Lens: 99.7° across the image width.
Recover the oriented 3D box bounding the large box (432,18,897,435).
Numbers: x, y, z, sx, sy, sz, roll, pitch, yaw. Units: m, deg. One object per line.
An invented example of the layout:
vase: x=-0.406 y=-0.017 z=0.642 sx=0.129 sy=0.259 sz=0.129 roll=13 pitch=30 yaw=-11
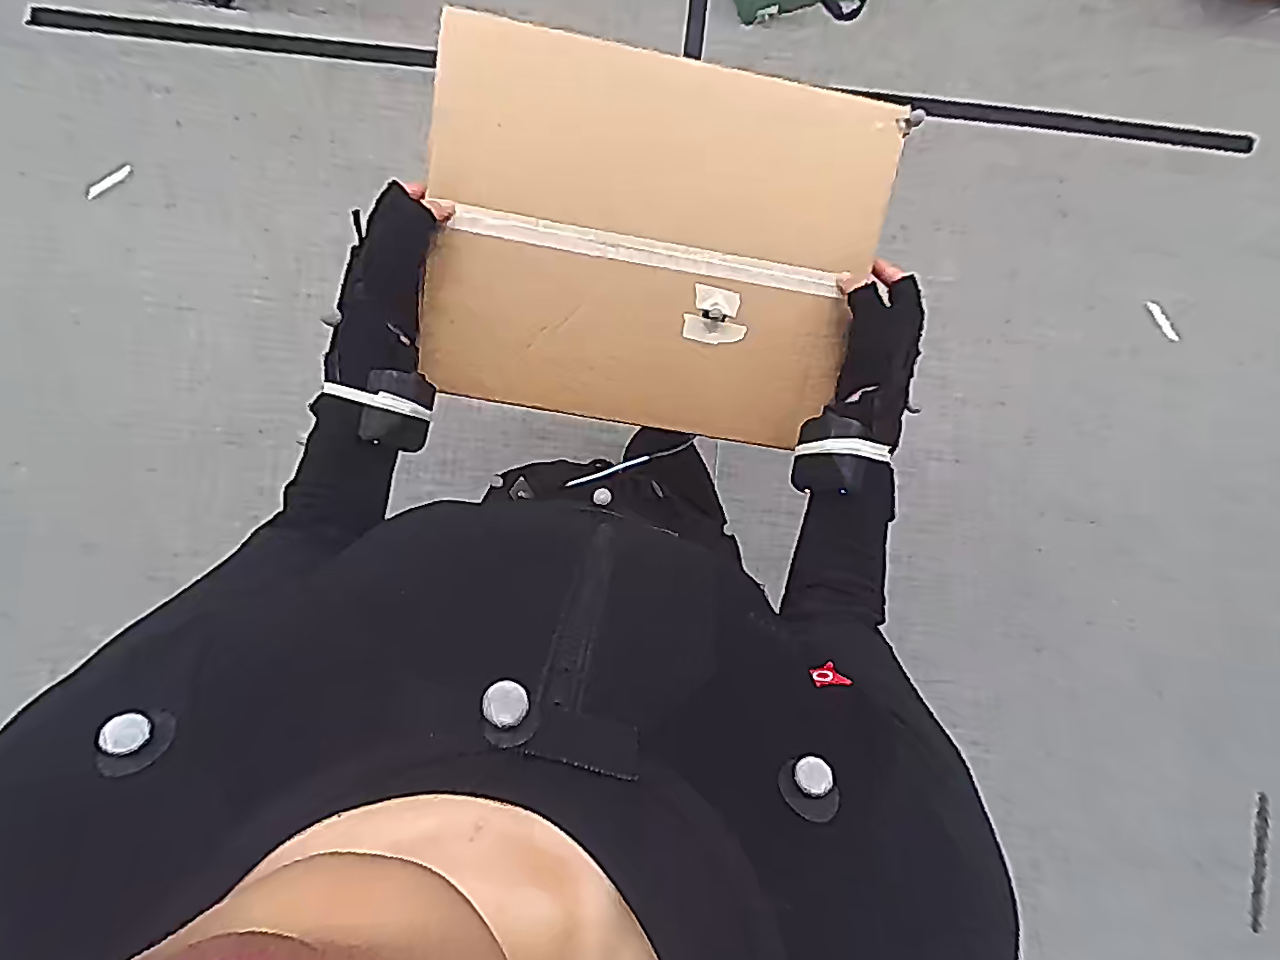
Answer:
large box: x=0.006 y=-0.251 z=0.647 sx=0.408 sy=0.320 sz=0.320 roll=9 pitch=104 yaw=-5
